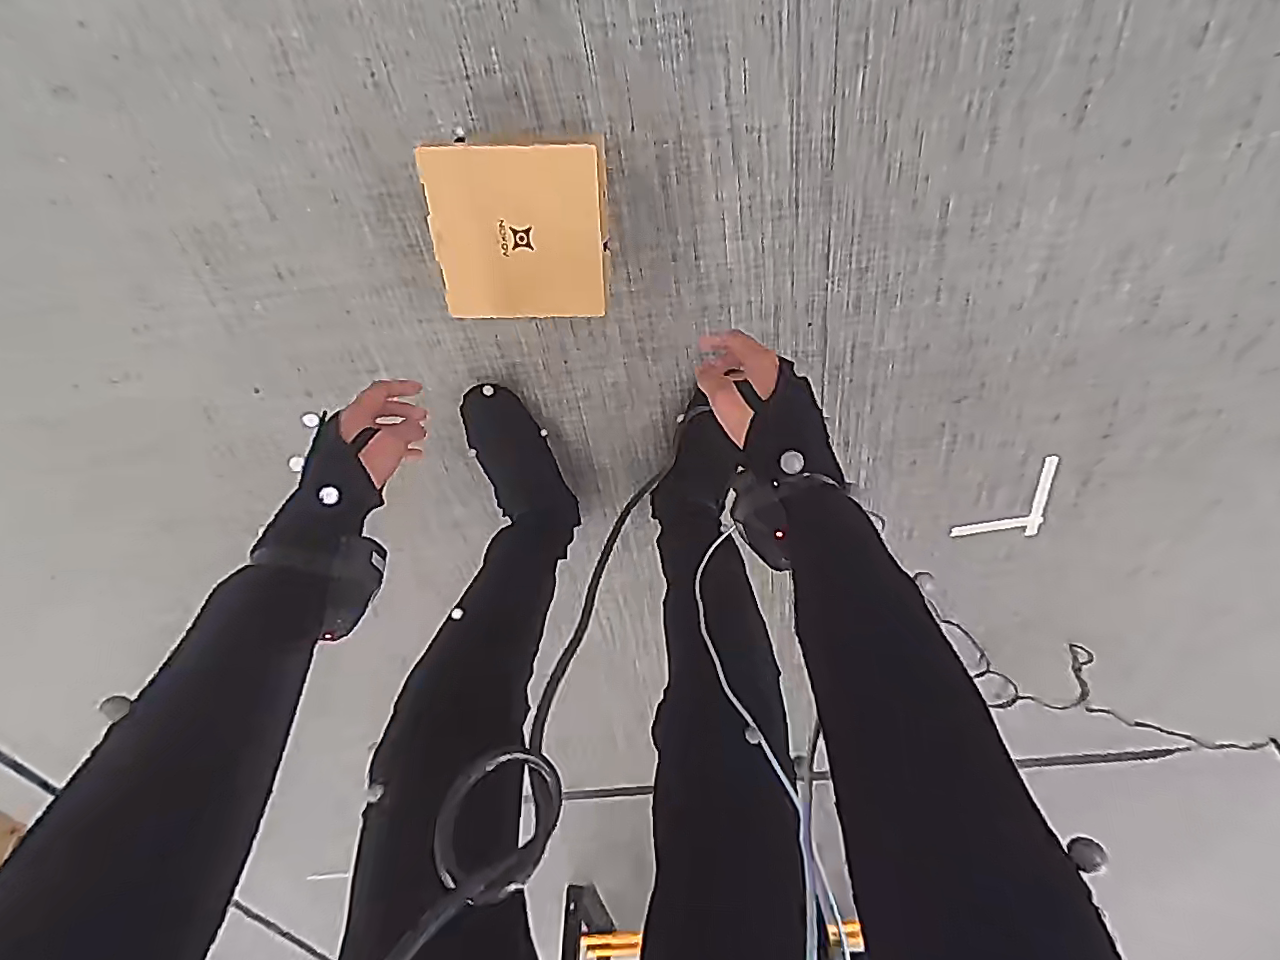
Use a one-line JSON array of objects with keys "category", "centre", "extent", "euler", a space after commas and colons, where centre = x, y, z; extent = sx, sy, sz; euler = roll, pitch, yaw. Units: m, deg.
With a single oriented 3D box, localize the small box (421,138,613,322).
[{"category": "small box", "centre": [-0.121, -0.290, 0.619], "extent": [0.179, 0.176, 0.168], "euler": [0, 125, 1]}]
